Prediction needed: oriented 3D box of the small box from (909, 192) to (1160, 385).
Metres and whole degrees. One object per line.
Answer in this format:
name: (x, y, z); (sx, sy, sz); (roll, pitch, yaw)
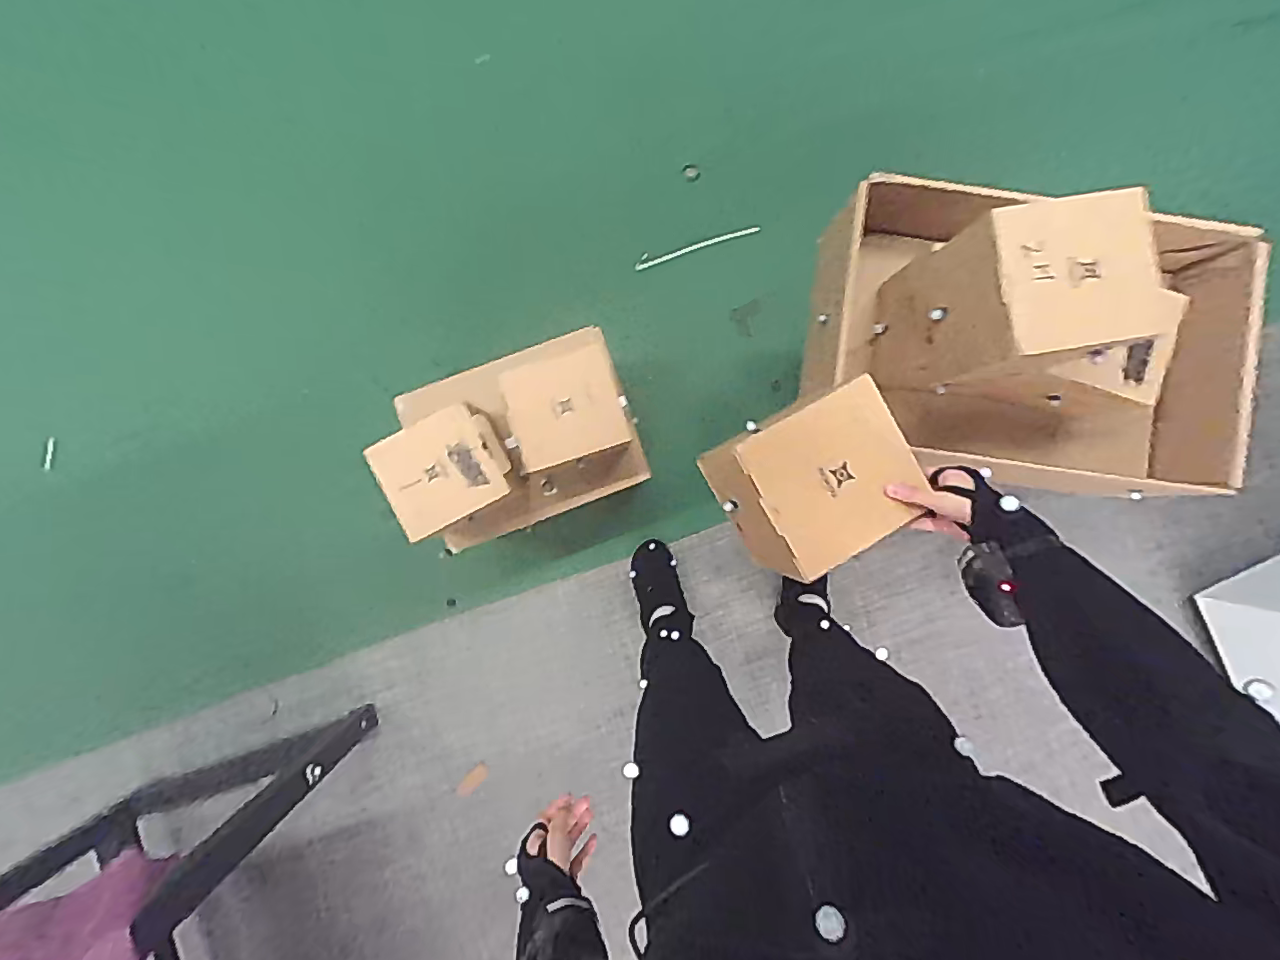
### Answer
small box: (0.471, -0.223, 0.671); (0.179, 0.176, 0.168); (-9, 88, -2)

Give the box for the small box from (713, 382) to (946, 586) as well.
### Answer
small box: (0.214, 0.004, 0.658); (0.179, 0.176, 0.168); (-29, 91, -6)
